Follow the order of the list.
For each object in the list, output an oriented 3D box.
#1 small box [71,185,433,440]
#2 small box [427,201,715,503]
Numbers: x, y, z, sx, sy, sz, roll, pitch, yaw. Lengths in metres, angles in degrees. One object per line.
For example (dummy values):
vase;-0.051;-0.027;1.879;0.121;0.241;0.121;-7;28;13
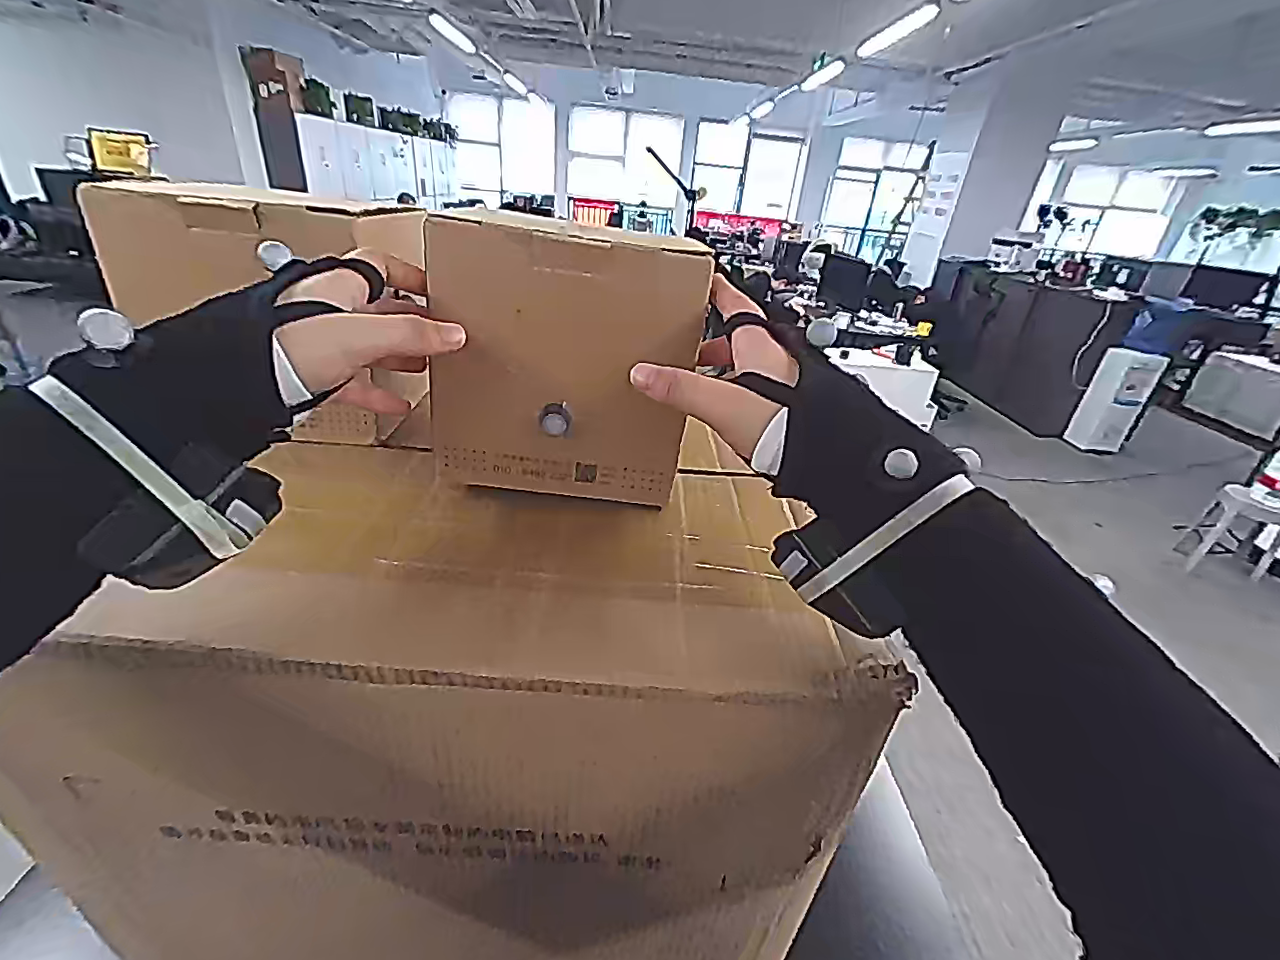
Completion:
small box;-0.280;-0.141;0.448;0.168;0.176;0.179;3;28;-6
small box;-0.049;-0.103;0.409;0.168;0.176;0.179;6;27;-4
